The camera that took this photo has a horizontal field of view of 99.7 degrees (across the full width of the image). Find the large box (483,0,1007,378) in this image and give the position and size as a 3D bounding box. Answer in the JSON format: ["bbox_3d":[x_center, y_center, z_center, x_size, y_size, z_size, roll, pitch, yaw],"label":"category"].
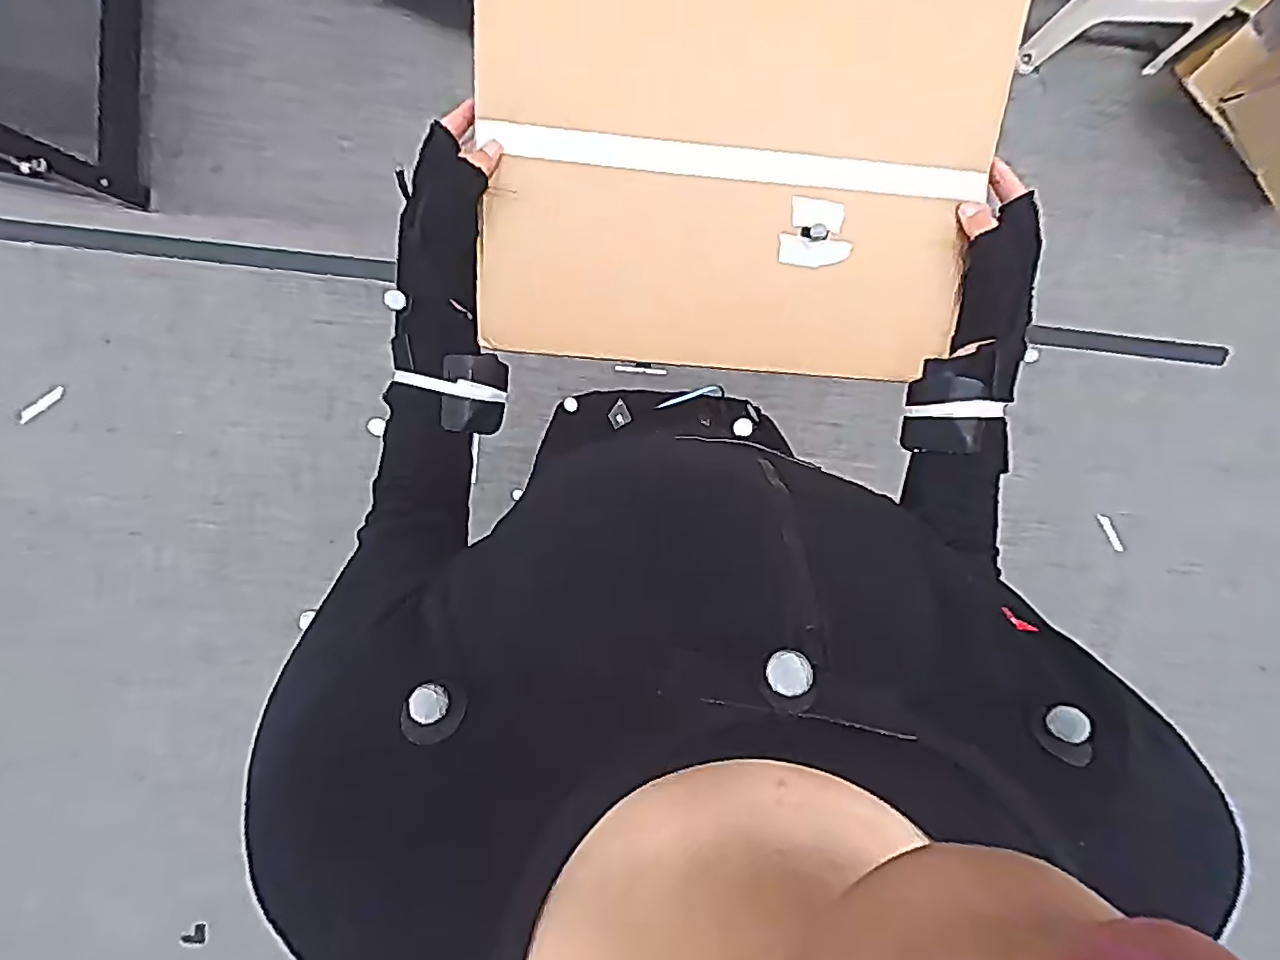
[{"bbox_3d":[0.064,-0.290,0.580,0.408,0.320,0.320,3,108,-5],"label":"large box"}]
